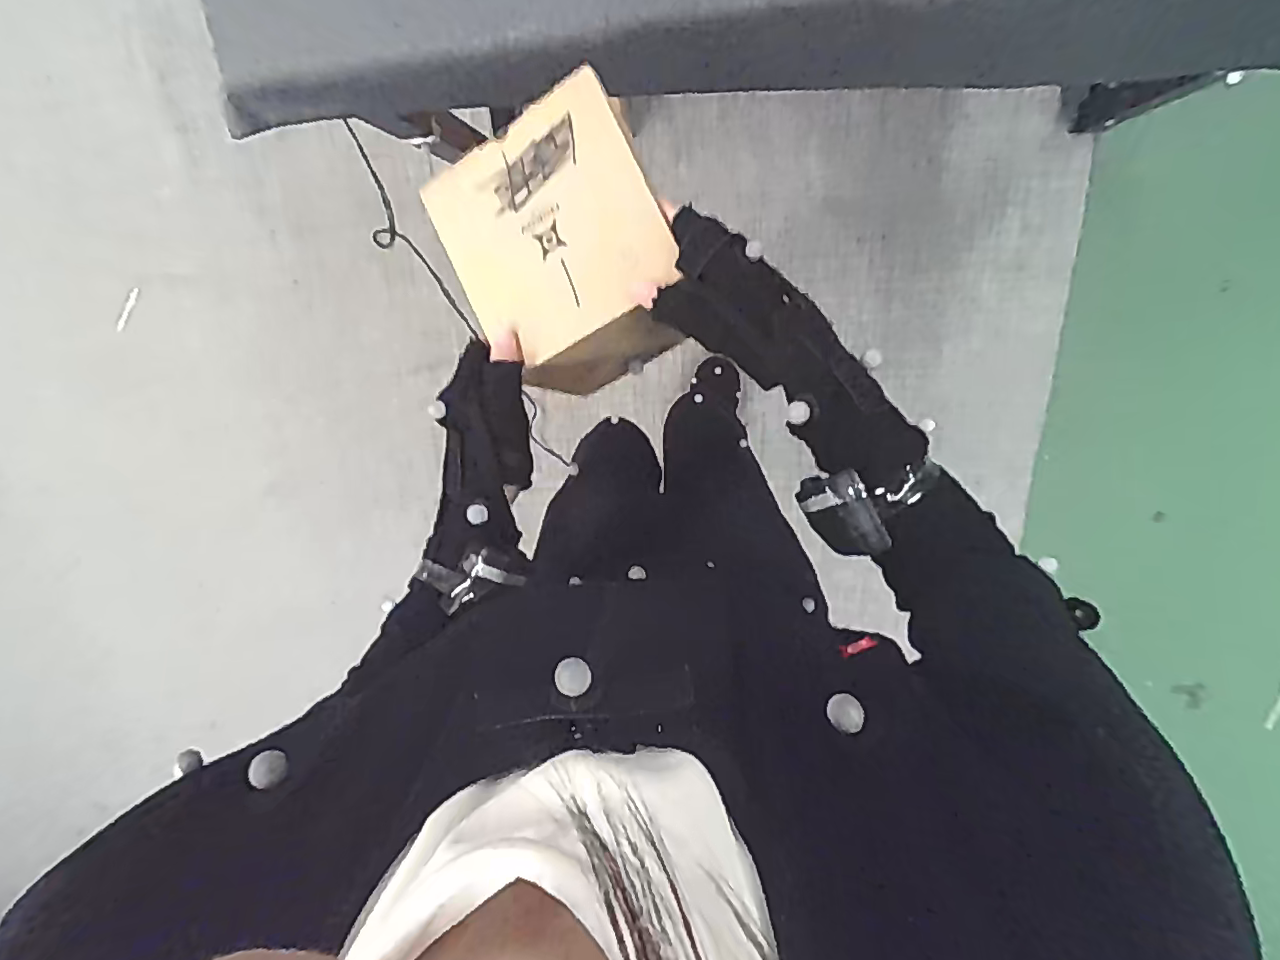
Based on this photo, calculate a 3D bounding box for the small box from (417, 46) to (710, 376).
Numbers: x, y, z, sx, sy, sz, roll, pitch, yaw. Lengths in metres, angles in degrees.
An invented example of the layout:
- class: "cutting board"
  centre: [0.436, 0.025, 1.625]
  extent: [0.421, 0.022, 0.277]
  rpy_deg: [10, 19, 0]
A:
- class: "small box"
  centre: [-0.052, -0.208, 0.480]
  extent: [0.168, 0.176, 0.179]
  rpy_deg: [-24, 90, 16]
